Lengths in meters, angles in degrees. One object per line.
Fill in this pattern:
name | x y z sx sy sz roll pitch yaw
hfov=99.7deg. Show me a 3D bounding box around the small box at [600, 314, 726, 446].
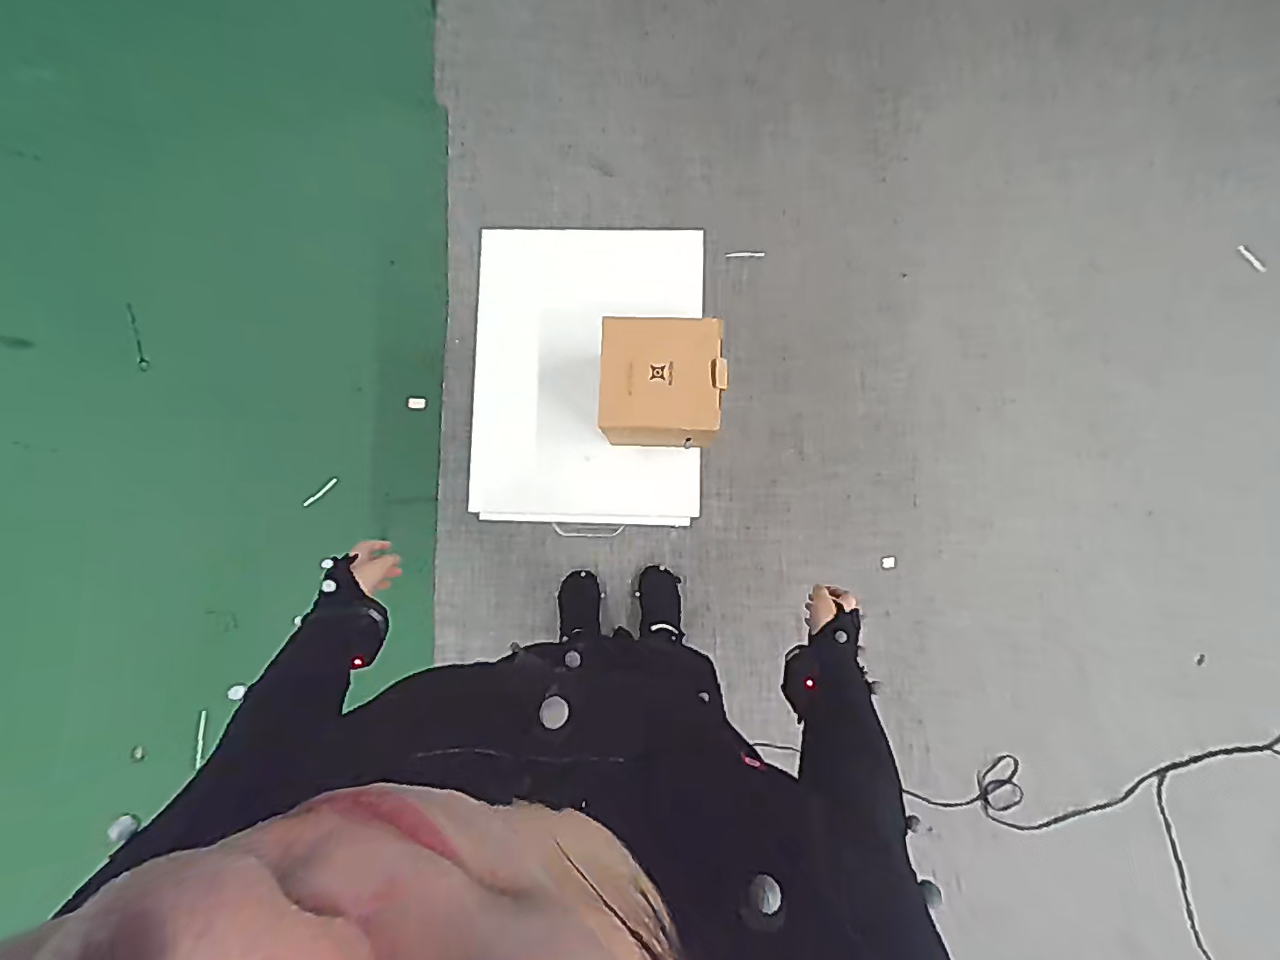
small box | 0.036 -0.148 0.847 0.179 0.176 0.168 1 84 3
